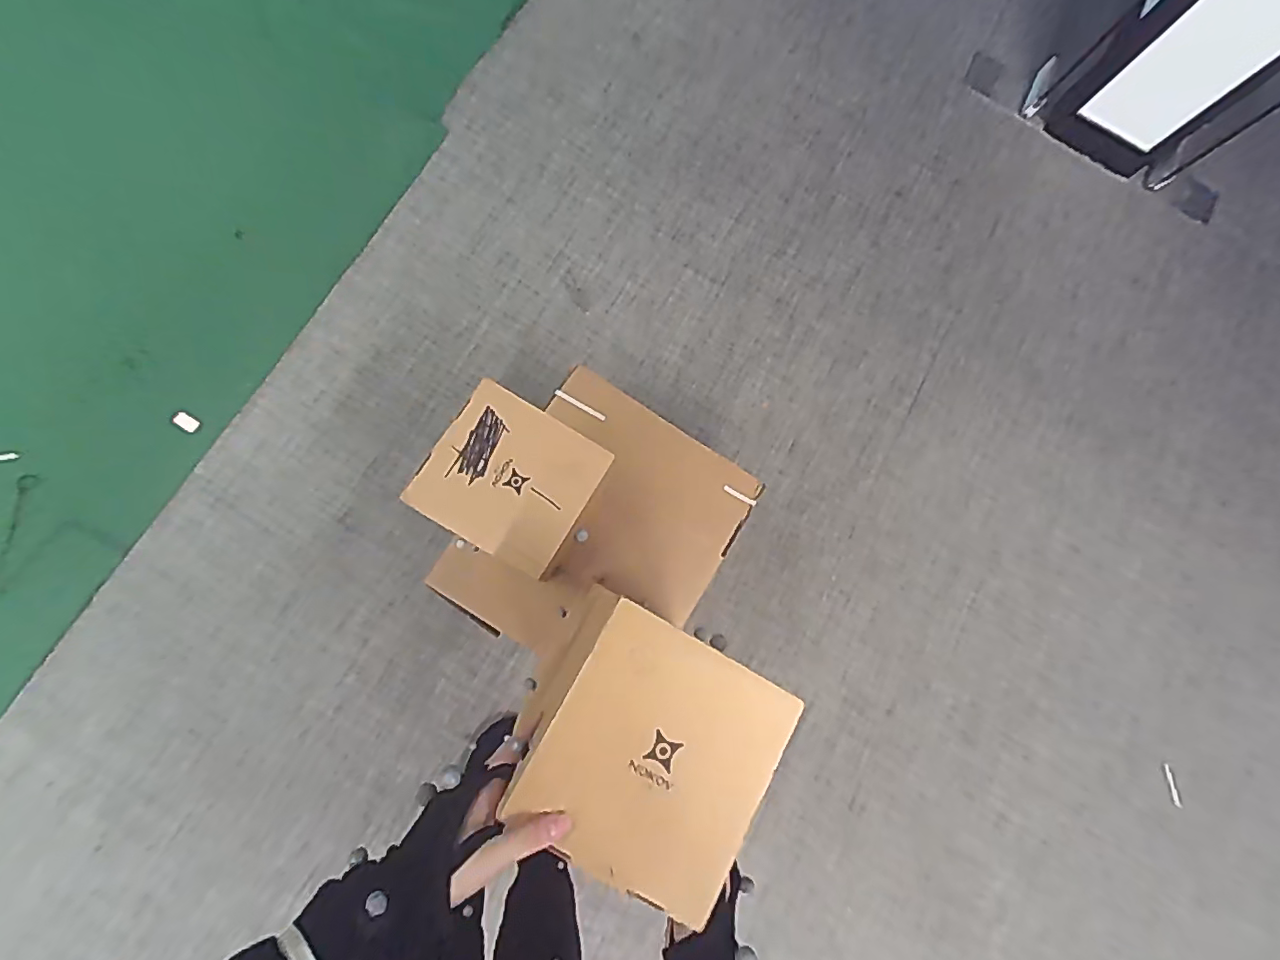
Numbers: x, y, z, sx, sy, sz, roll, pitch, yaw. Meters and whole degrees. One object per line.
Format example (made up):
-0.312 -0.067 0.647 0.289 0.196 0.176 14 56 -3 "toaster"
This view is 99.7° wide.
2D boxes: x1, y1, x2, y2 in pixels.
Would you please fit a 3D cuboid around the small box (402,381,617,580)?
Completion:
-0.148 0.014 0.665 0.179 0.176 0.168 31 77 0 "small box"

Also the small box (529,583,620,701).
-0.044 0.263 0.805 0.179 0.176 0.168 30 77 -2 "small box"

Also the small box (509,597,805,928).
0.006 0.214 0.471 0.168 0.176 0.179 30 78 -2 "small box"
